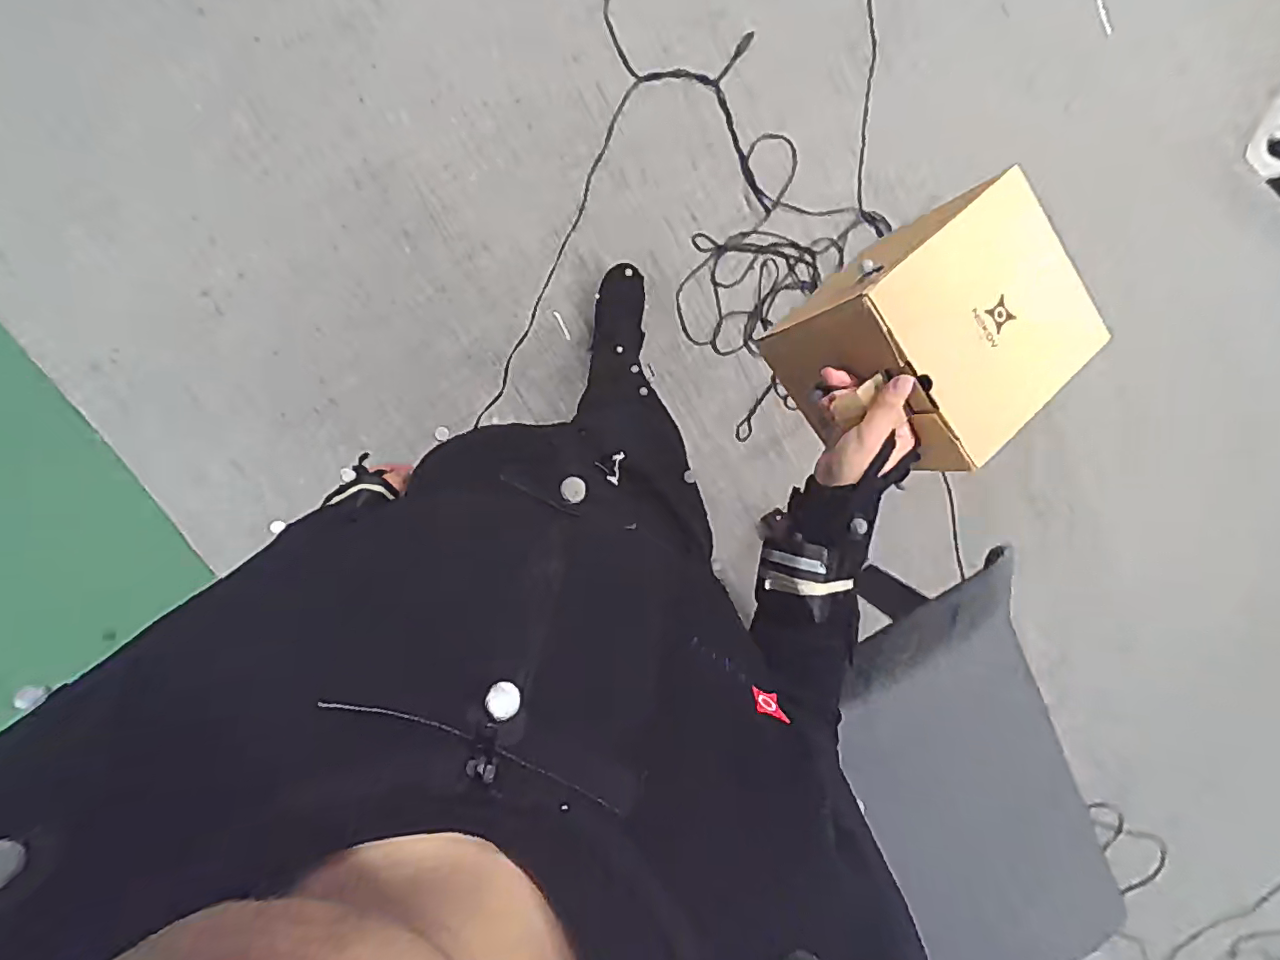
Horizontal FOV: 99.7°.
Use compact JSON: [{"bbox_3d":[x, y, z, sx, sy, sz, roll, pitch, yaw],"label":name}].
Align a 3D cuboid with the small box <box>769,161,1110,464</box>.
[{"bbox_3d":[0.253,-0.132,0.489,0.179,0.176,0.168,-42,101,-10],"label":"small box"}]
